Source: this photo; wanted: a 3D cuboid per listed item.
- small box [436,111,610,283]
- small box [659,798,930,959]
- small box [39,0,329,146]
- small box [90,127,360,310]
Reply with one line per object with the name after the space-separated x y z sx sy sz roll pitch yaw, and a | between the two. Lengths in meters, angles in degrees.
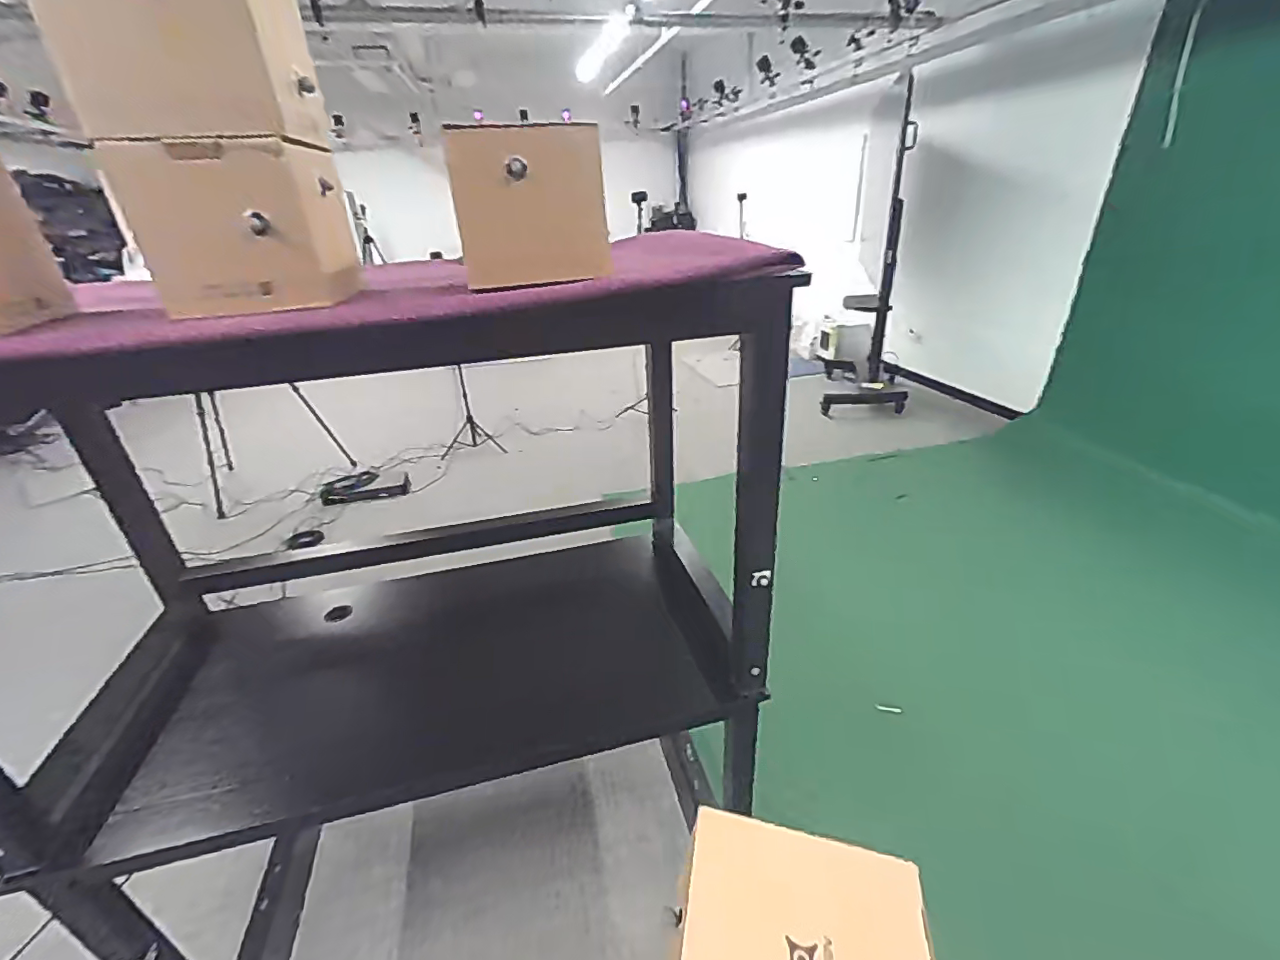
-0.144 -0.349 0.688 0.179 0.176 0.168 -10 26 -12 | small box
0.103 0.382 0.410 0.179 0.176 0.168 11 37 7 | small box
-0.452 -0.440 0.546 0.179 0.176 0.168 -7 28 -10 | small box
-0.444 -0.293 0.621 0.168 0.176 0.179 -7 27 -10 | small box
